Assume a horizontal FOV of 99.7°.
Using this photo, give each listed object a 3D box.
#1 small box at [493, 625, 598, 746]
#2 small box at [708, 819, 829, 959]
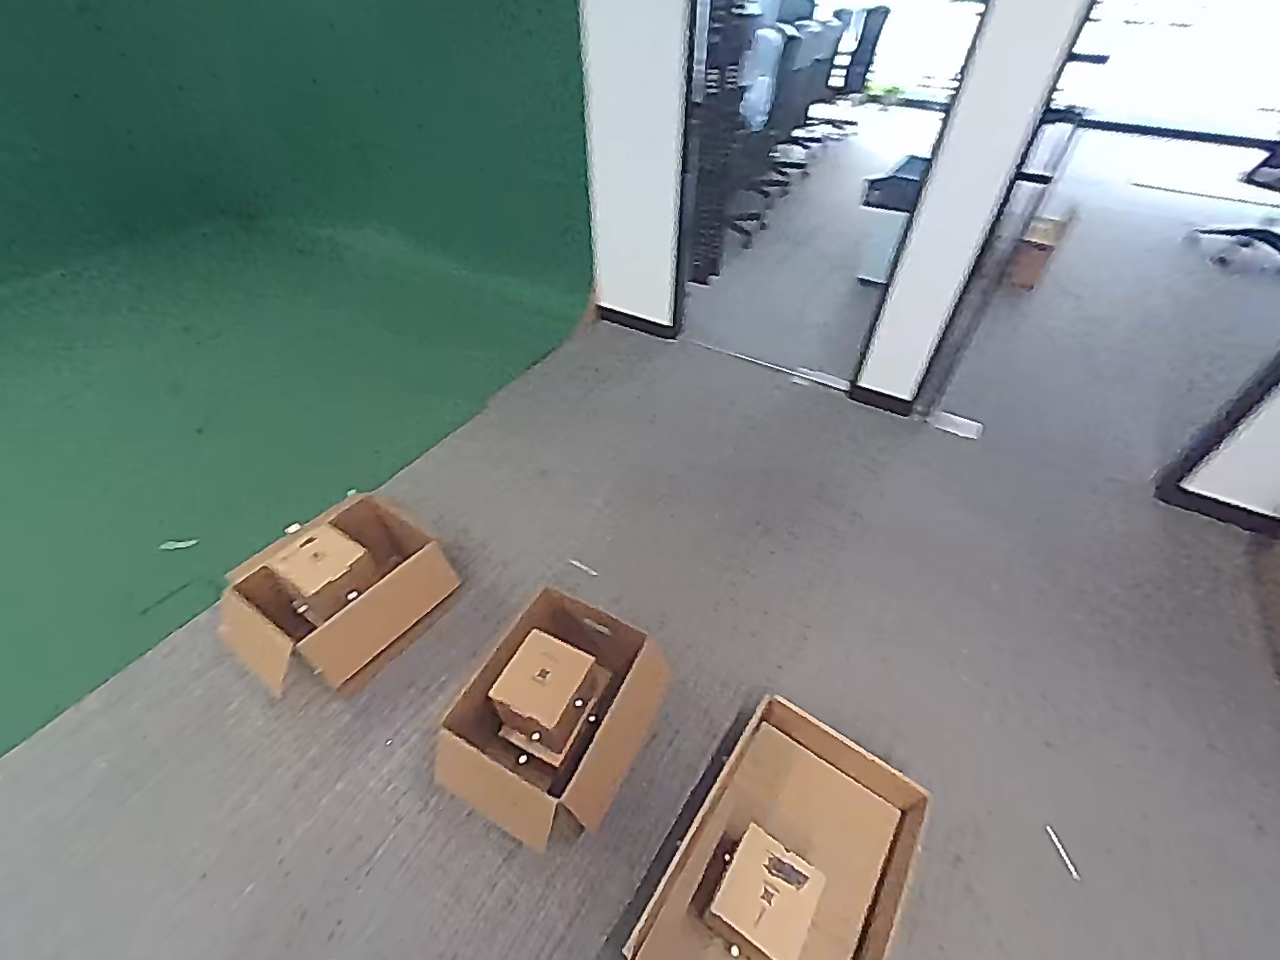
[{"bbox_3d":[-0.205,0.475,1.238,0.168,0.176,0.179,21,50,18],"label":"small box"},{"bbox_3d":[0.248,0.830,1.079,0.168,0.176,0.179,27,50,23],"label":"small box"}]
